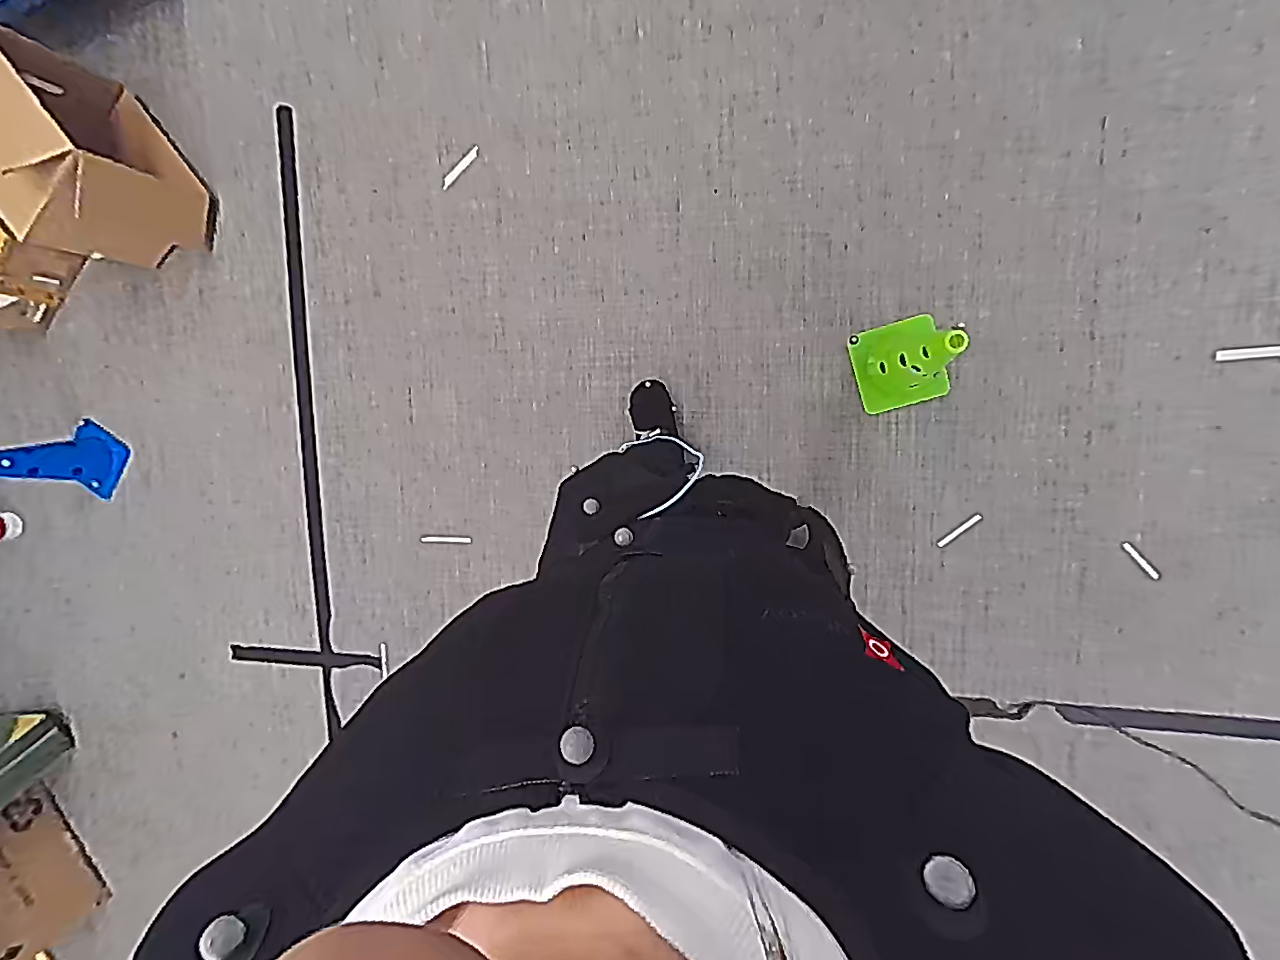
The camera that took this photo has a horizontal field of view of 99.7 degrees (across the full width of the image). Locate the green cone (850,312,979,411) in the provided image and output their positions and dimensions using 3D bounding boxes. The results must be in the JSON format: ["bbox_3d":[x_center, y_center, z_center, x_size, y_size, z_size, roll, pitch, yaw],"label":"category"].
[{"bbox_3d":[0.596,-0.264,1.124,0.202,0.368,0.200,-16,93,10],"label":"green cone"}]
